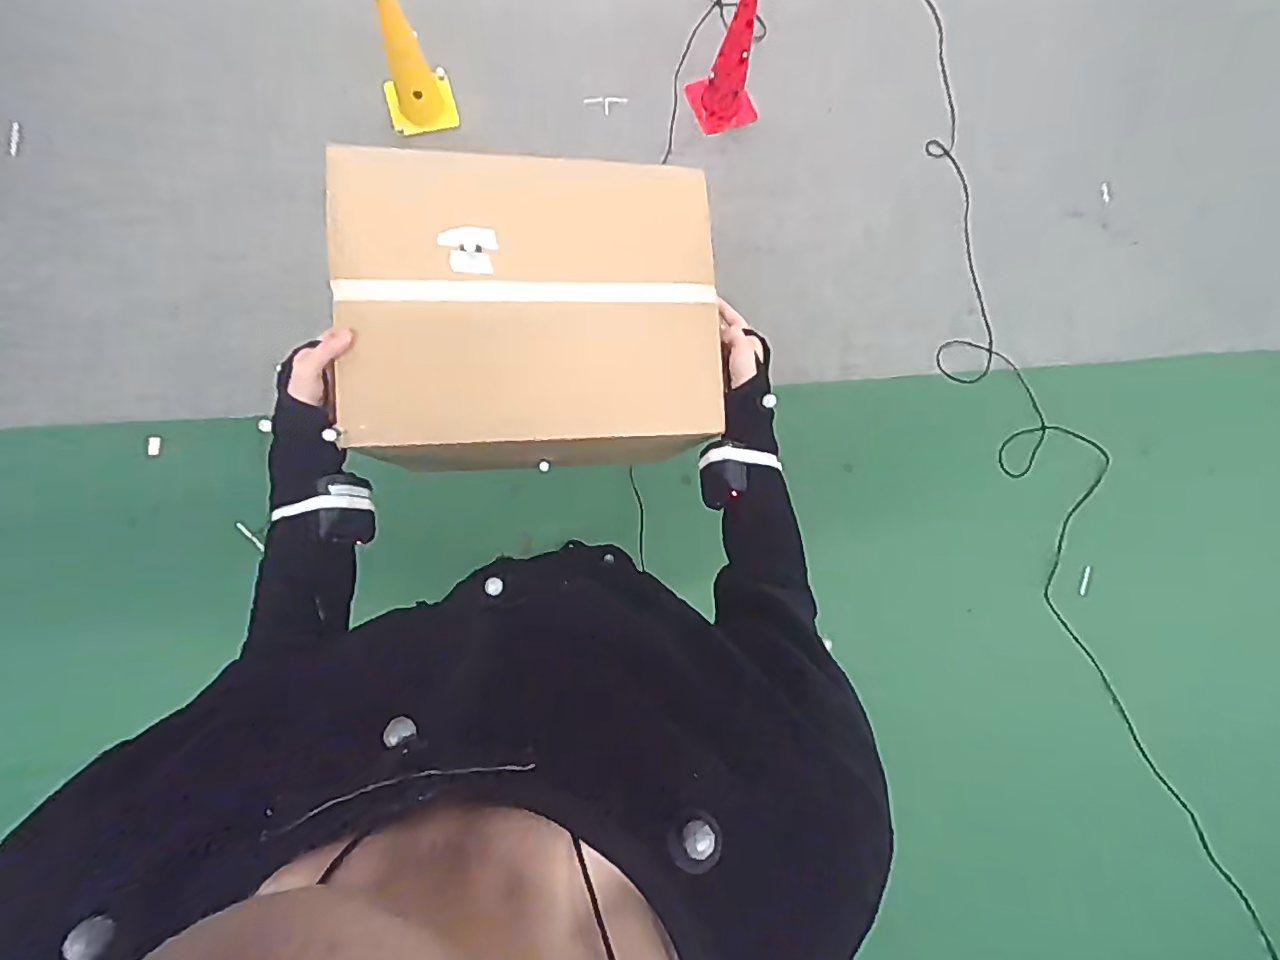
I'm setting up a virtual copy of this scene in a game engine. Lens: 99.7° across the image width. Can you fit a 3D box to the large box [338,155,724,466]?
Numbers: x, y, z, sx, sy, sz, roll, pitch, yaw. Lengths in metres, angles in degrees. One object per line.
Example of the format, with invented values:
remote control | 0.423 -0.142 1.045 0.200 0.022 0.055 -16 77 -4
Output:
large box | -0.134 -0.192 0.736 0.408 0.320 0.320 -3 86 -11
